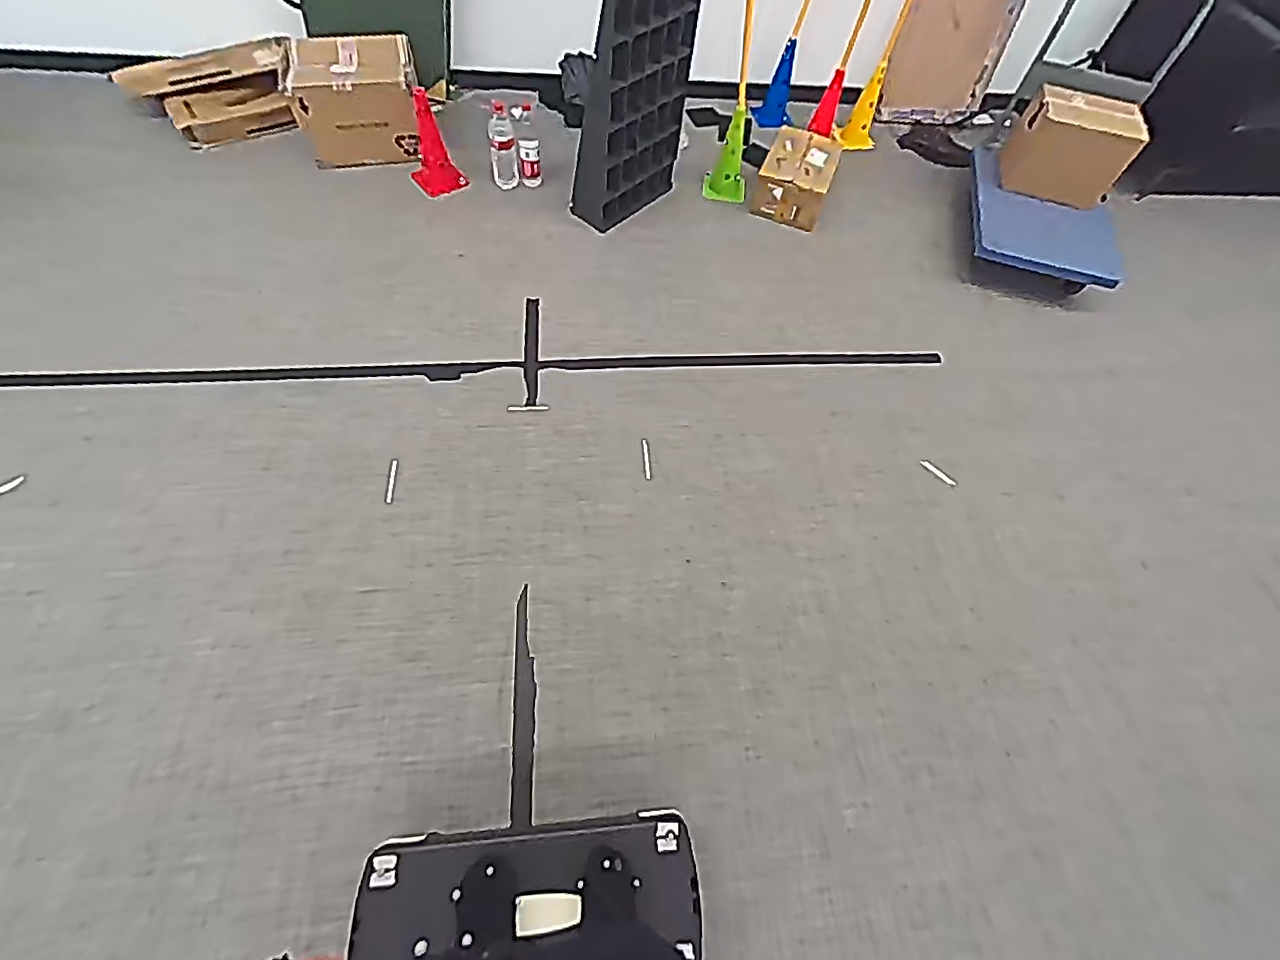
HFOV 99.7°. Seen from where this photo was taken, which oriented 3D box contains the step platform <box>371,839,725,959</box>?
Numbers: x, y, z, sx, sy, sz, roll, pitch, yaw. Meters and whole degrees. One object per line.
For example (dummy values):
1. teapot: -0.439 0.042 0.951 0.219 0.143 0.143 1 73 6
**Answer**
1. step platform: -0.172 0.910 1.100 0.684 0.204 0.286 2 59 -5
